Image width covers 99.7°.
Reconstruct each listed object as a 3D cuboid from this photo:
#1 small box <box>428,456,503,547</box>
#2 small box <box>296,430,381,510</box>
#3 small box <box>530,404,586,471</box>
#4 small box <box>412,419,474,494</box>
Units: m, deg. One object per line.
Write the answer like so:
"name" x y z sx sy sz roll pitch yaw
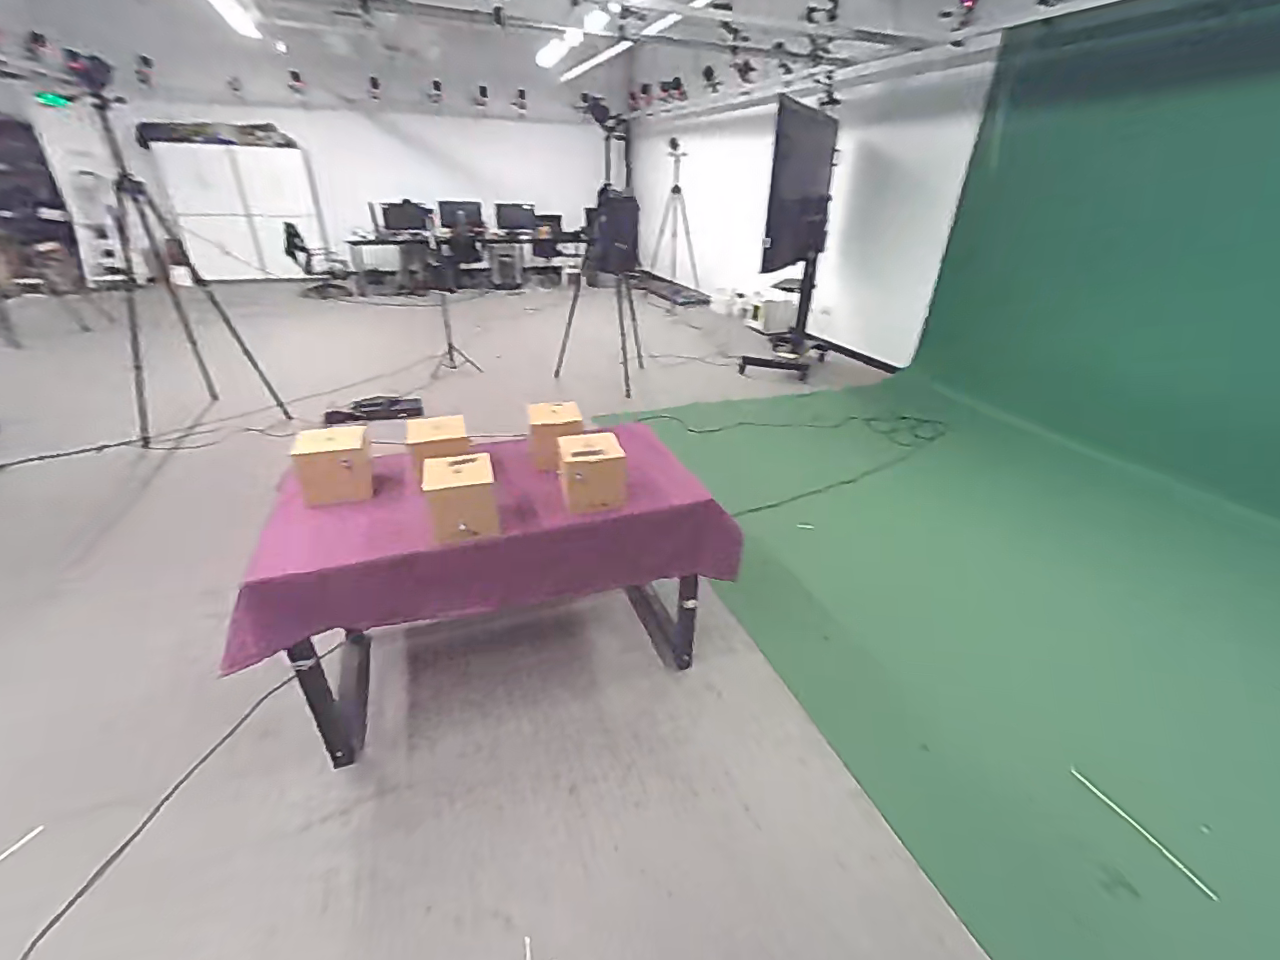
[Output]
"small box" -0.461 0.055 1.434 0.168 0.176 0.179 -9 30 -16
"small box" -0.870 -0.030 1.579 0.179 0.176 0.168 -8 30 -17
"small box" -0.271 -0.138 1.792 0.168 0.176 0.179 -5 30 -12
"small box" -0.602 -0.075 1.673 0.168 0.176 0.179 -9 31 -16
